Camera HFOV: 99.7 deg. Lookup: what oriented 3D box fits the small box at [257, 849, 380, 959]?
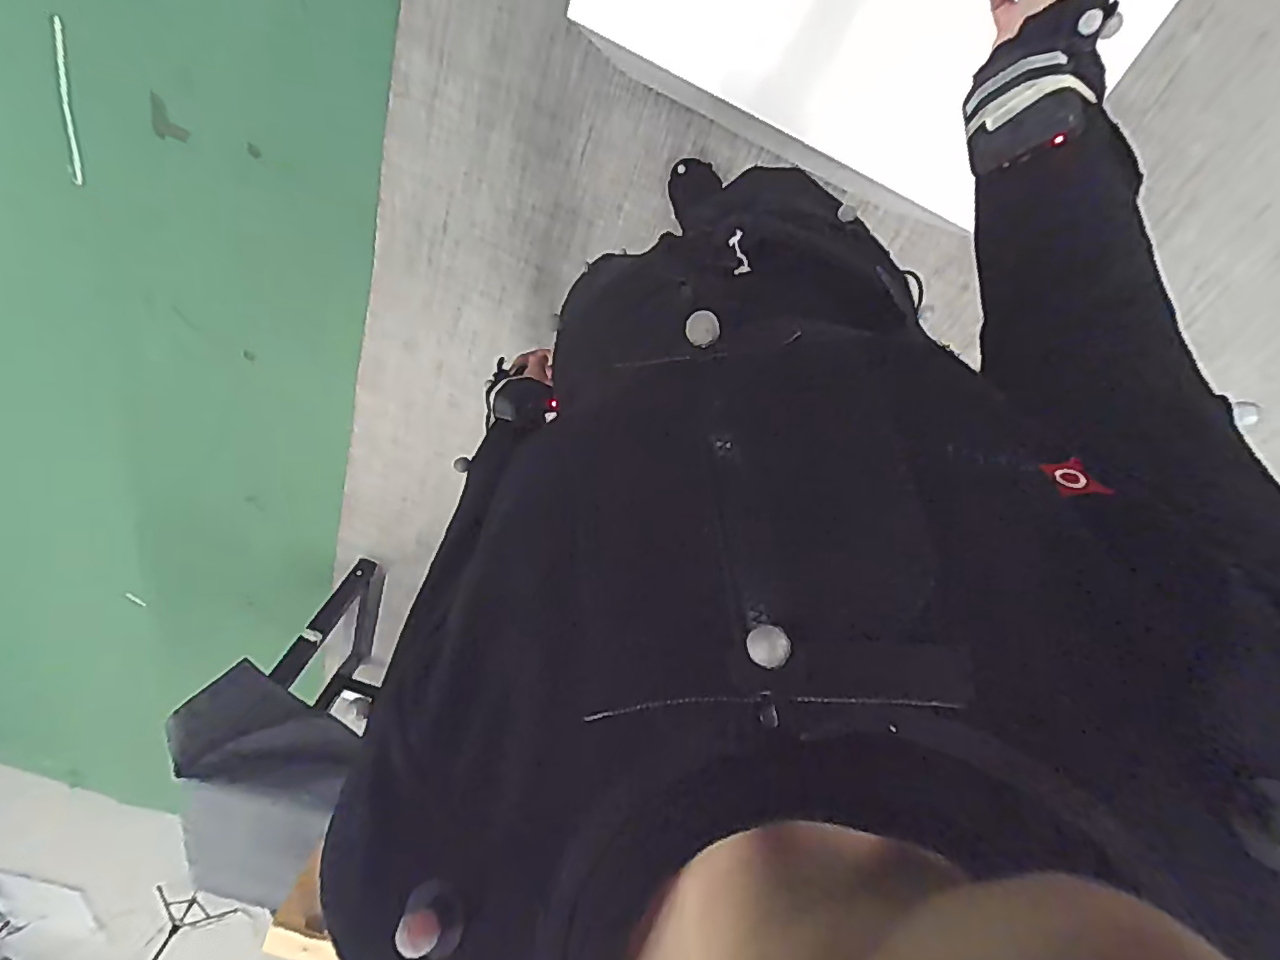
[{"bbox_3d":[-0.709,0.968,1.206,0.168,0.176,0.179,26,120,-10],"label":"small box"}]
